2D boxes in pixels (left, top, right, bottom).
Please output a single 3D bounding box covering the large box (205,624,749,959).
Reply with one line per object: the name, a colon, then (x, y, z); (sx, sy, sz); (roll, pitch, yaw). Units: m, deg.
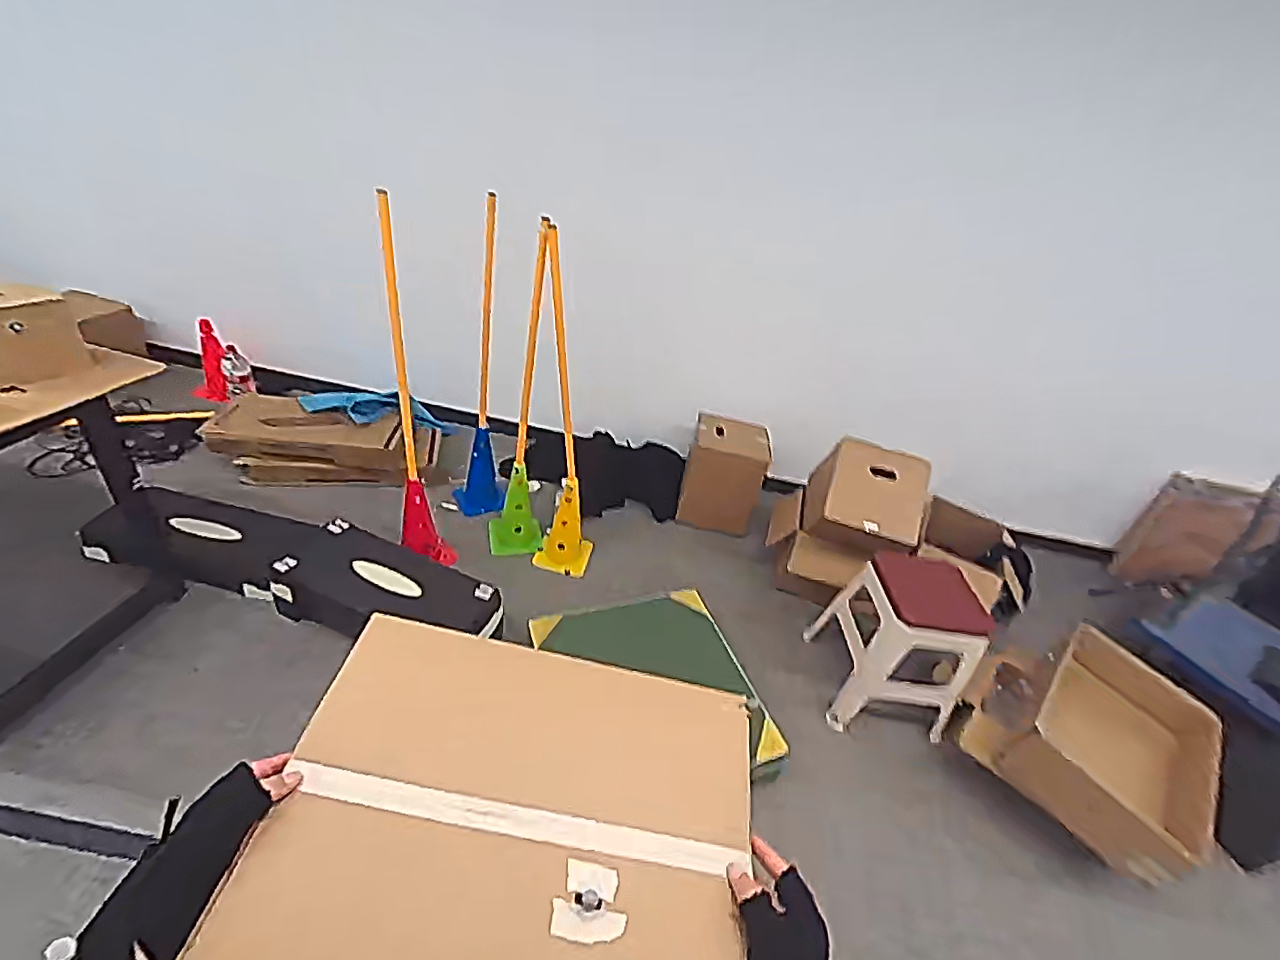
large box: (-0.131, 0.403, 0.572); (0.408, 0.320, 0.320); (15, 42, -4)
